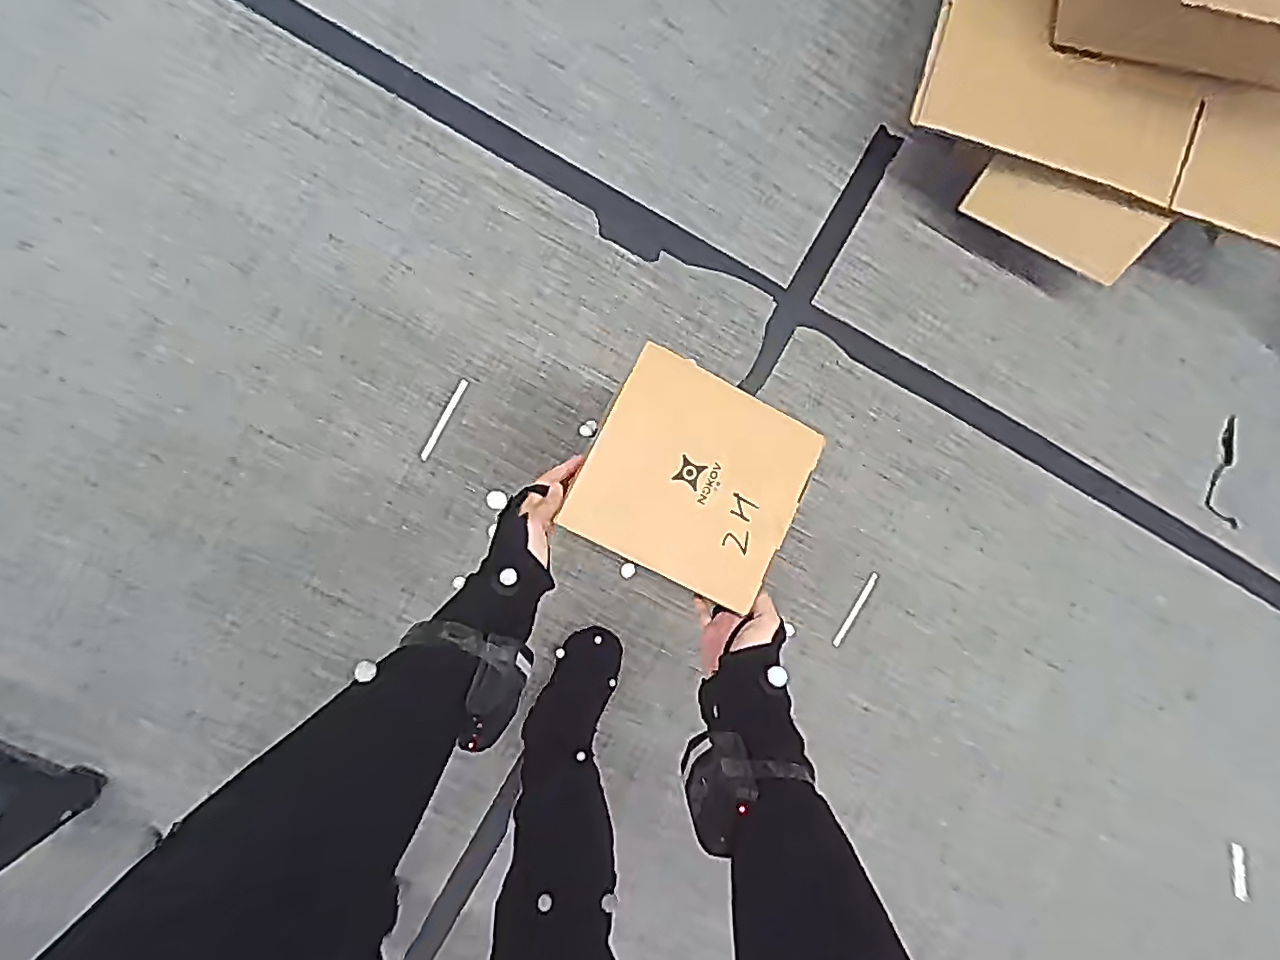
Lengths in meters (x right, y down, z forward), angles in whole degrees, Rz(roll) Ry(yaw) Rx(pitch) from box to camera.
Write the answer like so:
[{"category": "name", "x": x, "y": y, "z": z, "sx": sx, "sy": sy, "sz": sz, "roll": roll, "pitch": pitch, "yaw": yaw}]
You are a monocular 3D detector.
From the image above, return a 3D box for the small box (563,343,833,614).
[{"category": "small box", "x": 0.038, "y": 0.004, "z": 0.511, "sx": 0.179, "sy": 0.176, "sz": 0.168, "roll": 27, "pitch": 83, "yaw": -8}]
